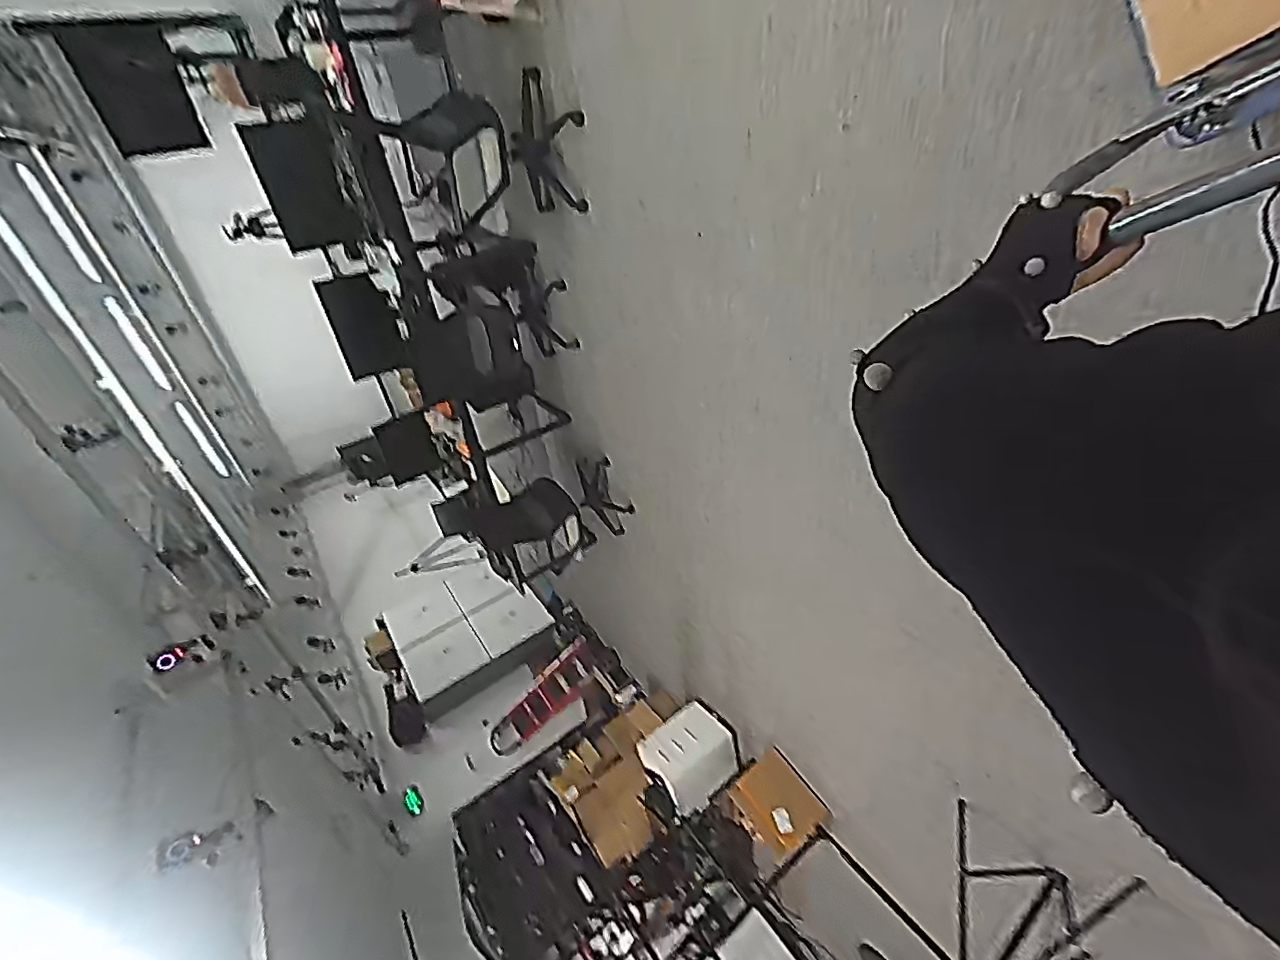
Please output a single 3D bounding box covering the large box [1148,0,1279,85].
[{"bbox_3d":[0.793,-0.696,0.532,0.408,0.320,0.320,-9,109,62],"label":"large box"}]
